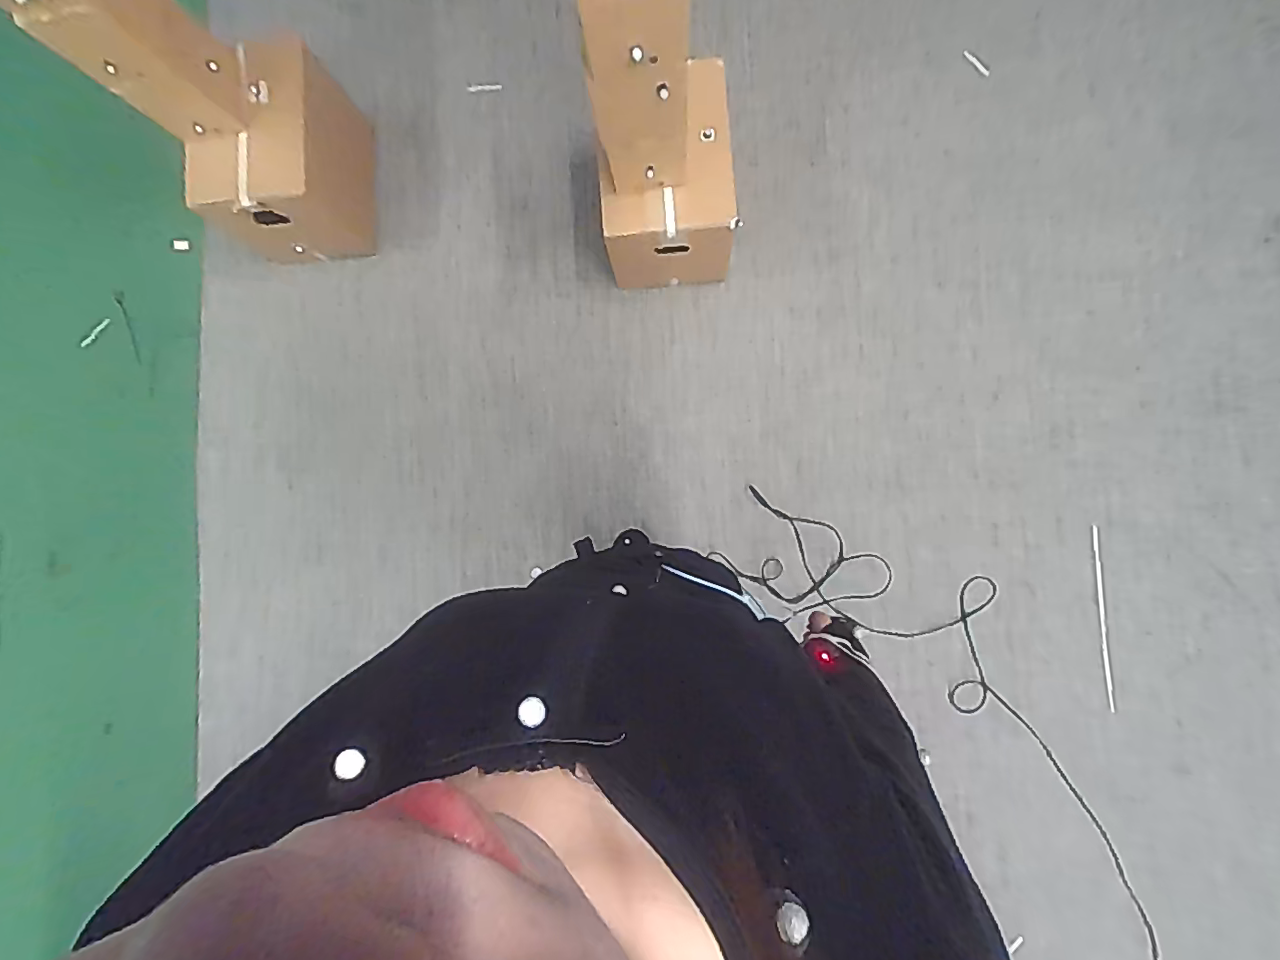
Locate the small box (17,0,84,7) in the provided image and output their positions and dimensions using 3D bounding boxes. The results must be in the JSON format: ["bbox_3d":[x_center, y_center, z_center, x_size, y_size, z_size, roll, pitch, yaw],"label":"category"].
[{"bbox_3d":[-1.080,-0.963,0.914,0.168,0.176,0.179,-2,89,8],"label":"small box"}]

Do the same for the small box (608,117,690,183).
[{"bbox_3d":[0.017,-0.765,1.158,0.168,0.176,0.179,-7,88,5],"label":"small box"}]

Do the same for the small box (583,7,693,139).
[{"bbox_3d":[0.001,-0.768,0.993,0.179,0.176,0.168,-7,86,5],"label":"small box"}]

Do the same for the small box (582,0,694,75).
[{"bbox_3d":[-0.011,-0.781,0.830,0.168,0.176,0.179,-10,87,5],"label":"small box"}]

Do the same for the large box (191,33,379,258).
[{"bbox_3d":[-0.946,-0.879,1.472,0.320,0.320,0.408,-3,86,4],"label":"large box"}]

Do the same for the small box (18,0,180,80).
[{"bbox_3d":[-1.065,-0.949,1.076,0.168,0.176,0.179,-4,88,7],"label":"small box"}]
